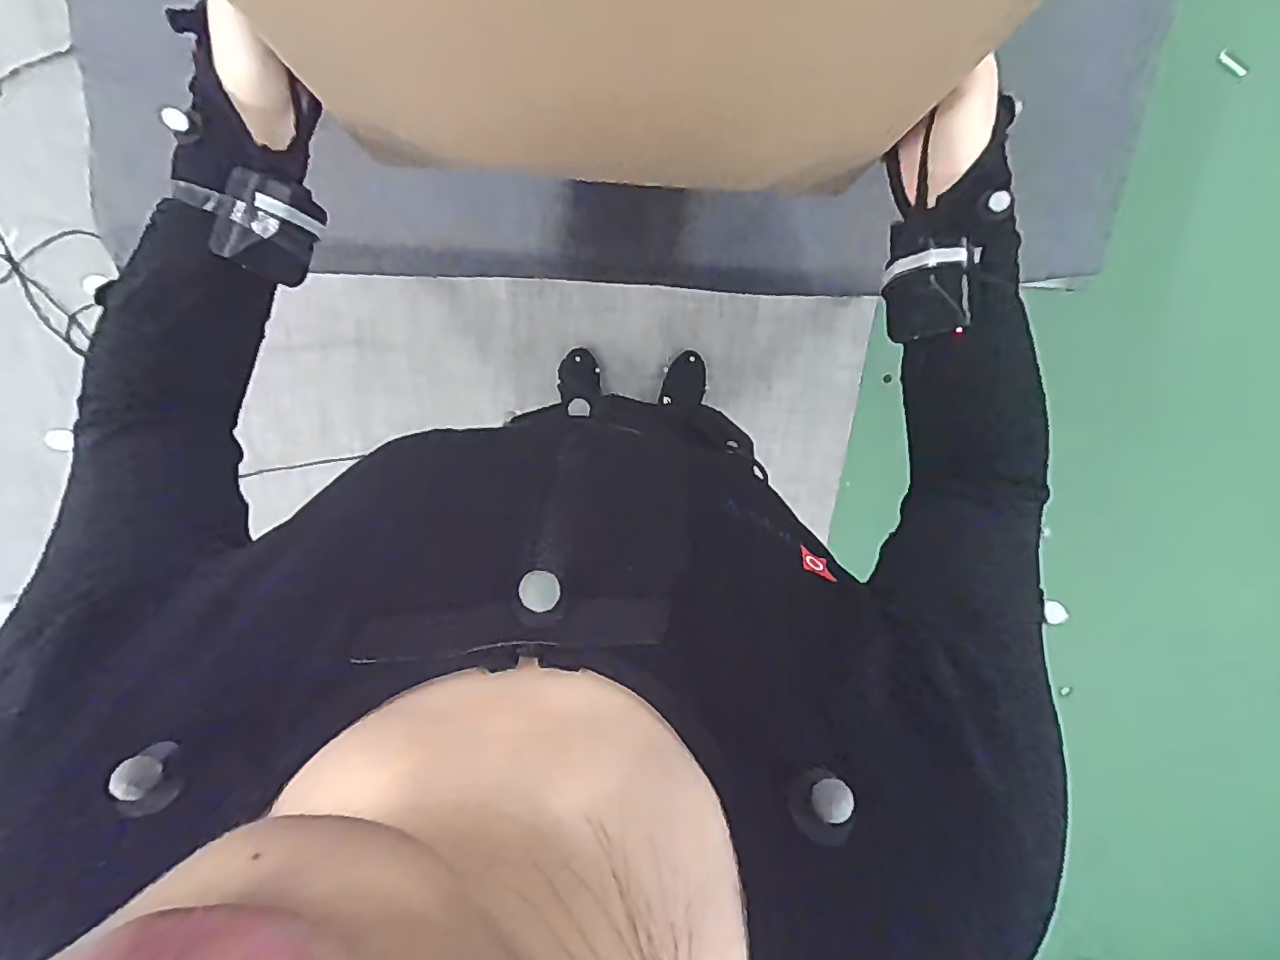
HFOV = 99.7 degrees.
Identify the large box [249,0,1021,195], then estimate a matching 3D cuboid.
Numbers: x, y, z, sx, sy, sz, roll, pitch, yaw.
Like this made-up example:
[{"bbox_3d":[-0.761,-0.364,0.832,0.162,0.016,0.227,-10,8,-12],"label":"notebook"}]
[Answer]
[{"bbox_3d":[-0.009,-0.397,0.321,0.408,0.320,0.320,1,97,-5],"label":"large box"}]
